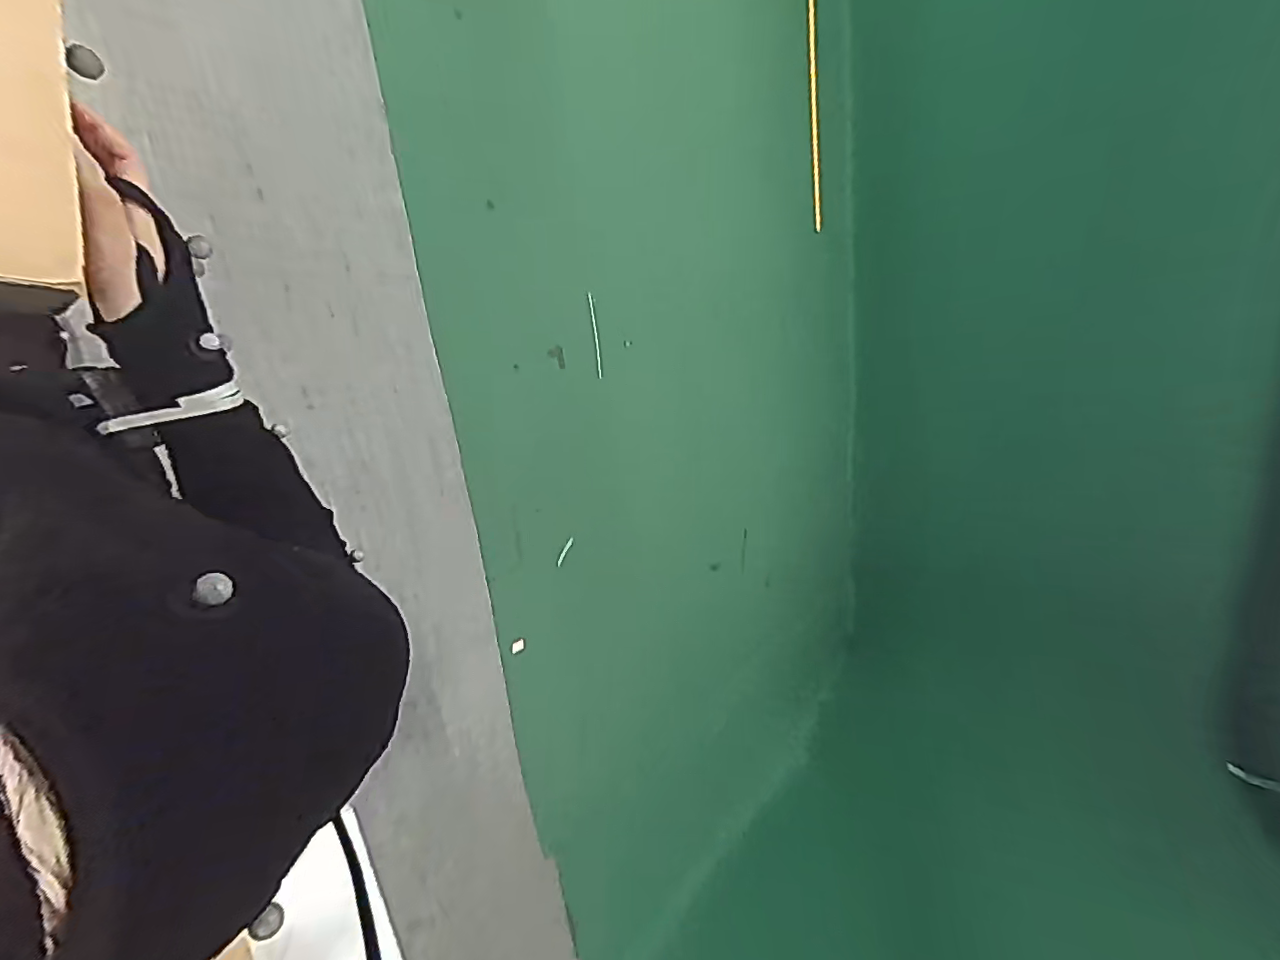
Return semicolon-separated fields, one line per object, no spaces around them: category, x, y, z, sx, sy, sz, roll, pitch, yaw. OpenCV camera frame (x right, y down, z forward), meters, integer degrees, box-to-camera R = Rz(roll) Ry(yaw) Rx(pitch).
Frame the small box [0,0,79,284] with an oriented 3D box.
small box;-0.393;-0.202;0.250;0.168;0.176;0.179;-7;103;-50
